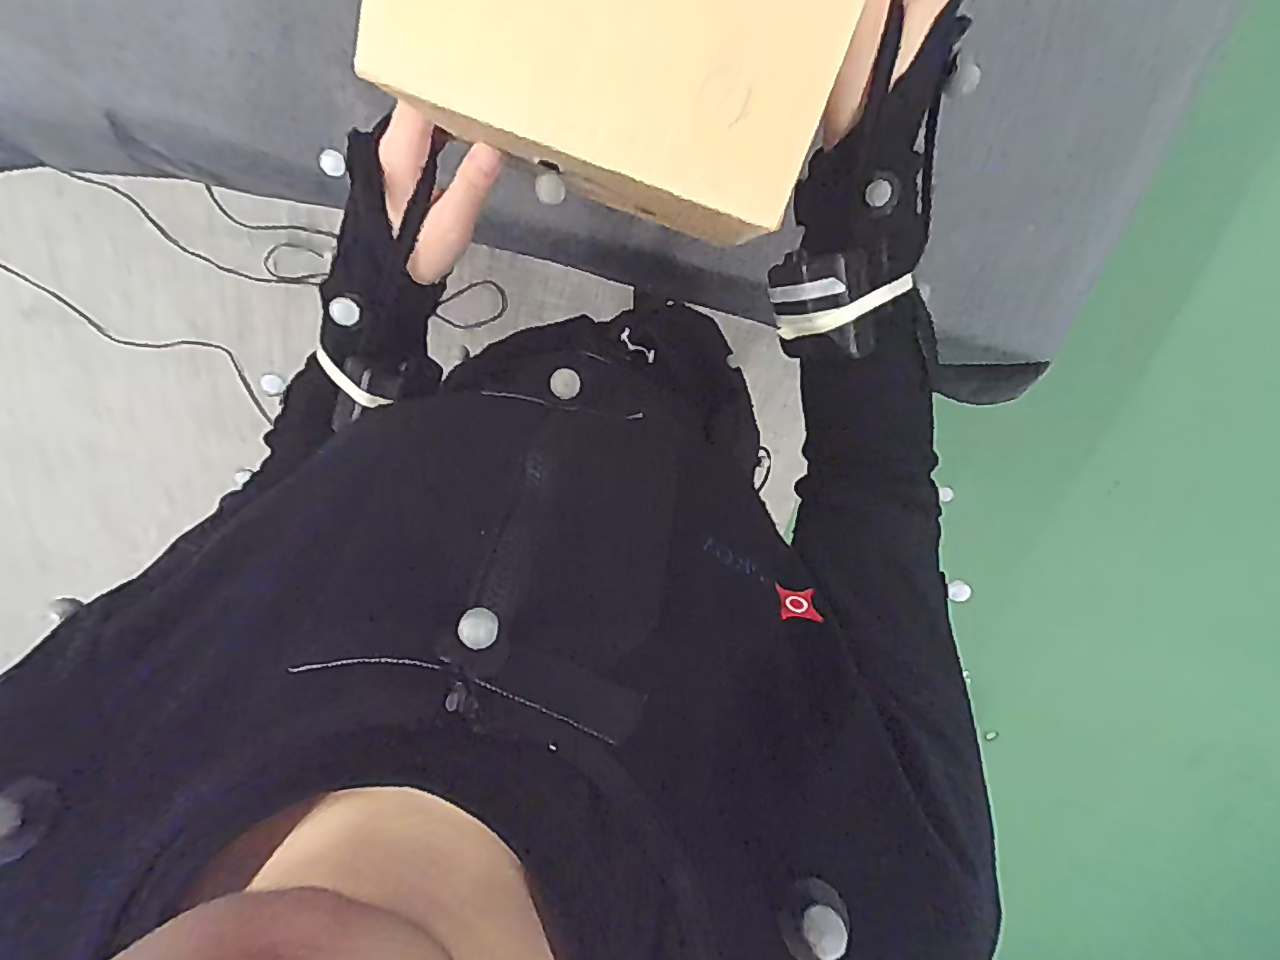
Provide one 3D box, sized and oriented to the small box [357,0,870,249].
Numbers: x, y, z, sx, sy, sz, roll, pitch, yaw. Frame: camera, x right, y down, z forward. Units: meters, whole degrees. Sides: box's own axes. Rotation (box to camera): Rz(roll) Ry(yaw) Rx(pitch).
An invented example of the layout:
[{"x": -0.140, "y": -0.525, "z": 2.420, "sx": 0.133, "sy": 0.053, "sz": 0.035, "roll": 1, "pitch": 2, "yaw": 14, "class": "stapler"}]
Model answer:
[{"x": 0.009, "y": -0.218, "z": 0.241, "sx": 0.168, "sy": 0.176, "sz": 0.179, "roll": 19, "pitch": 110, "yaw": -3, "class": "small box"}]
